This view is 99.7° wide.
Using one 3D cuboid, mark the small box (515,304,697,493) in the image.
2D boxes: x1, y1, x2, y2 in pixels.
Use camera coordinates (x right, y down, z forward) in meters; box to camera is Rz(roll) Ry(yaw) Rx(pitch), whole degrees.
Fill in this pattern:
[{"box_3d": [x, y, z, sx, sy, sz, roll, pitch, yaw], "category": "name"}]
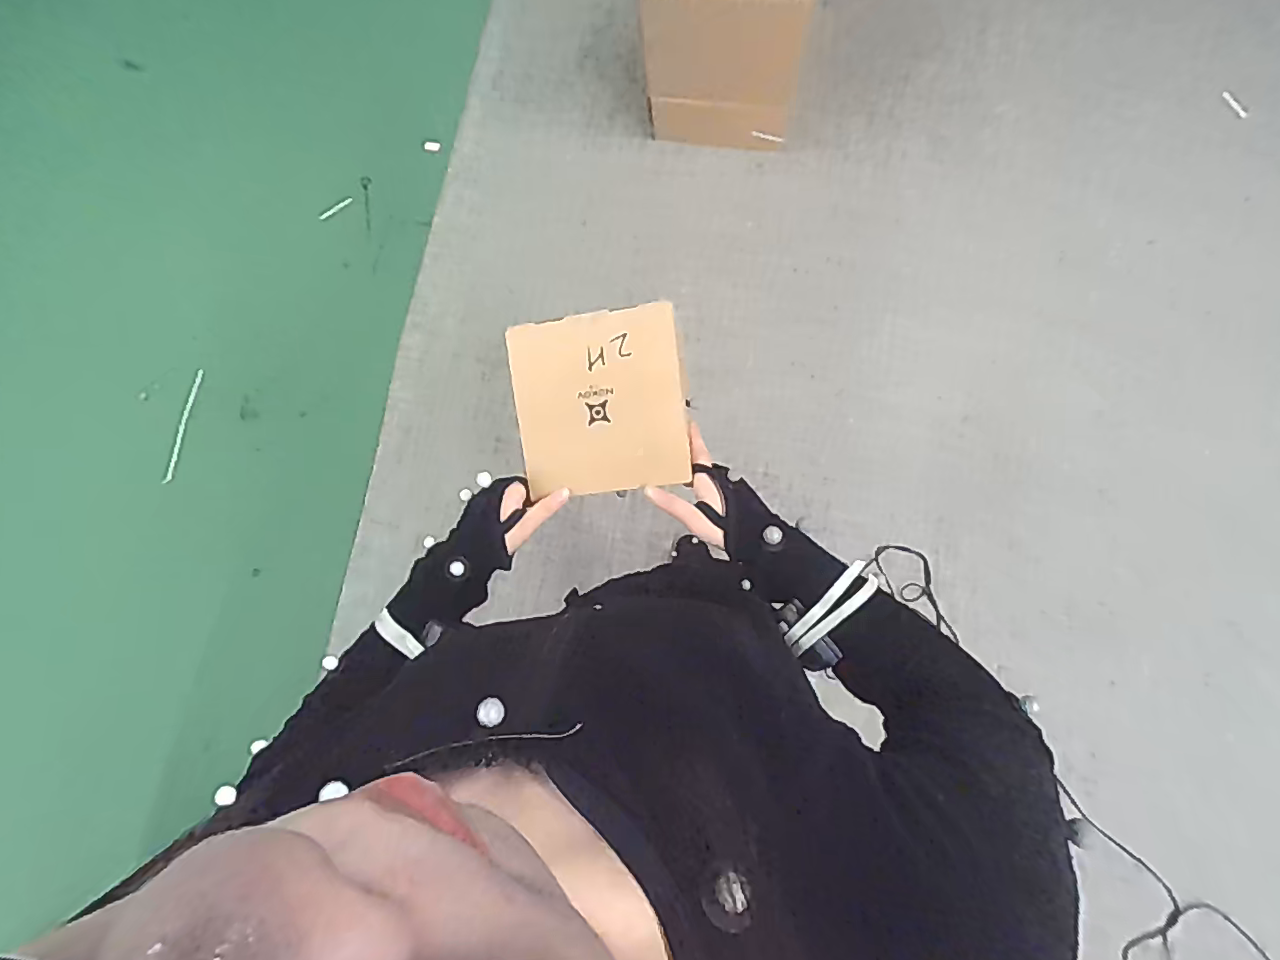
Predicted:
[{"box_3d": [-0.026, -0.088, 0.615, 0.168, 0.176, 0.179, -5, 96, 9], "category": "small box"}]
